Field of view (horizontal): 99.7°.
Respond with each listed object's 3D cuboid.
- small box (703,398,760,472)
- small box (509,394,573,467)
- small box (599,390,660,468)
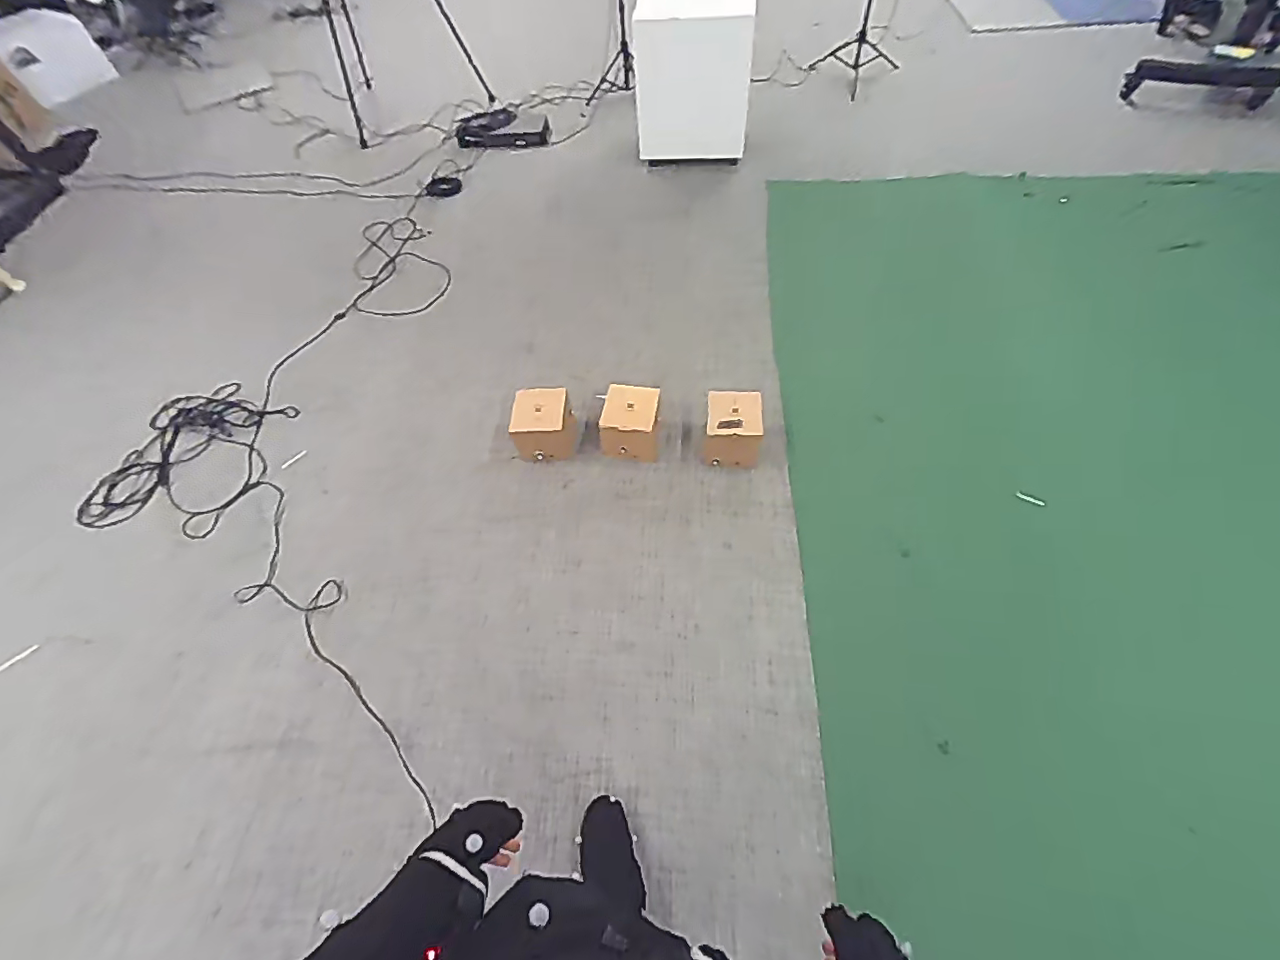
[{"bbox_3d":[0.286,-0.140,1.712,0.168,0.176,0.179,2,56,5],"label":"small box"},{"bbox_3d":[-0.315,-0.160,1.763,0.168,0.176,0.179,-2,58,4],"label":"small box"},{"bbox_3d":[-0.030,-0.163,1.748,0.168,0.176,0.179,7,58,8],"label":"small box"}]
